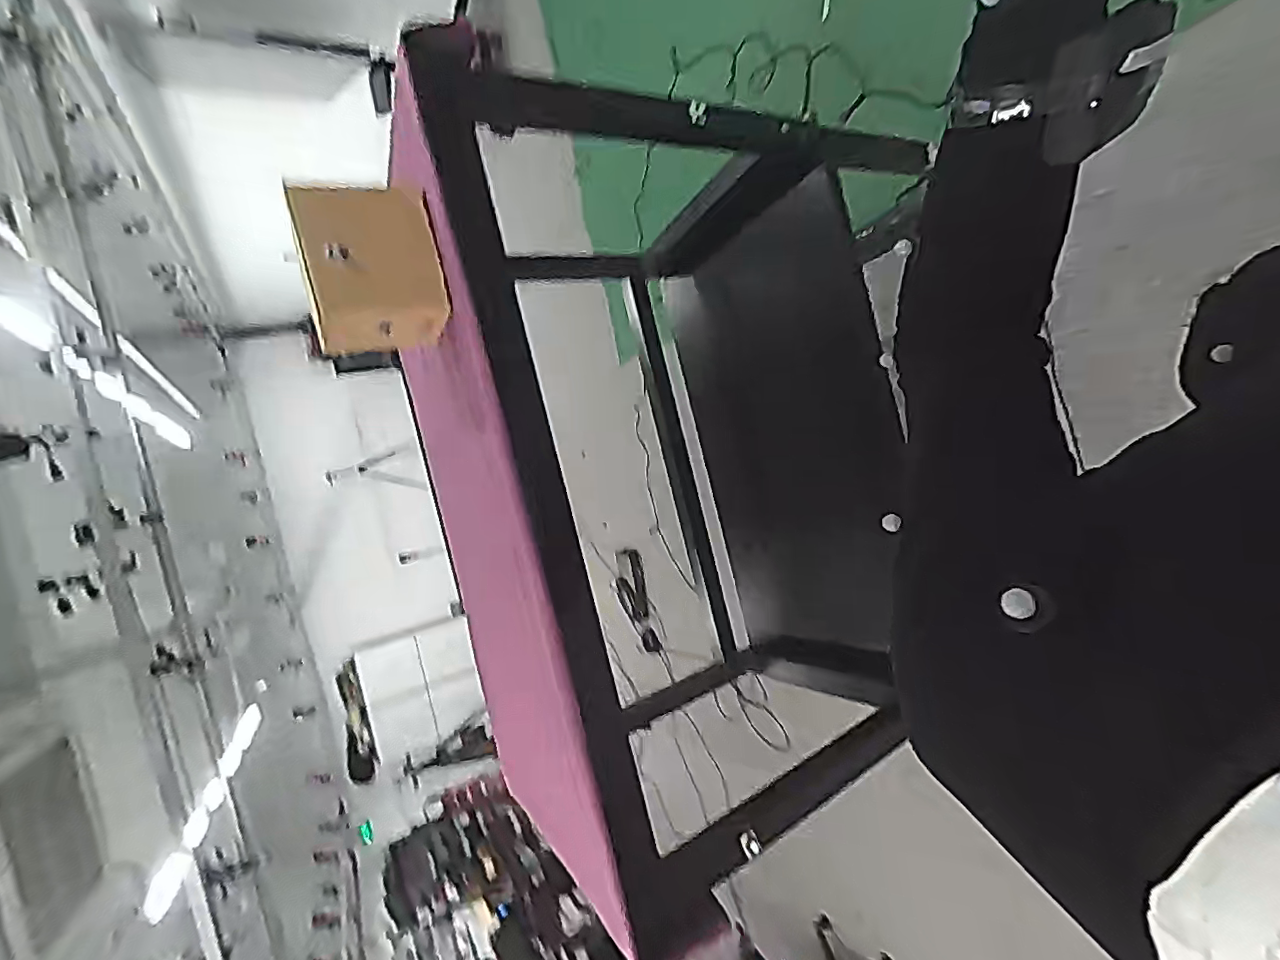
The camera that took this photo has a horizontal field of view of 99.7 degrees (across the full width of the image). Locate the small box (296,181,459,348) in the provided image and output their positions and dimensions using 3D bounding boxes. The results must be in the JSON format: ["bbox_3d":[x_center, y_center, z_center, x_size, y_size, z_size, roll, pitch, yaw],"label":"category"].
[{"bbox_3d":[-0.374,-0.306,0.784,0.168,0.176,0.179,-7,97,61],"label":"small box"}]
